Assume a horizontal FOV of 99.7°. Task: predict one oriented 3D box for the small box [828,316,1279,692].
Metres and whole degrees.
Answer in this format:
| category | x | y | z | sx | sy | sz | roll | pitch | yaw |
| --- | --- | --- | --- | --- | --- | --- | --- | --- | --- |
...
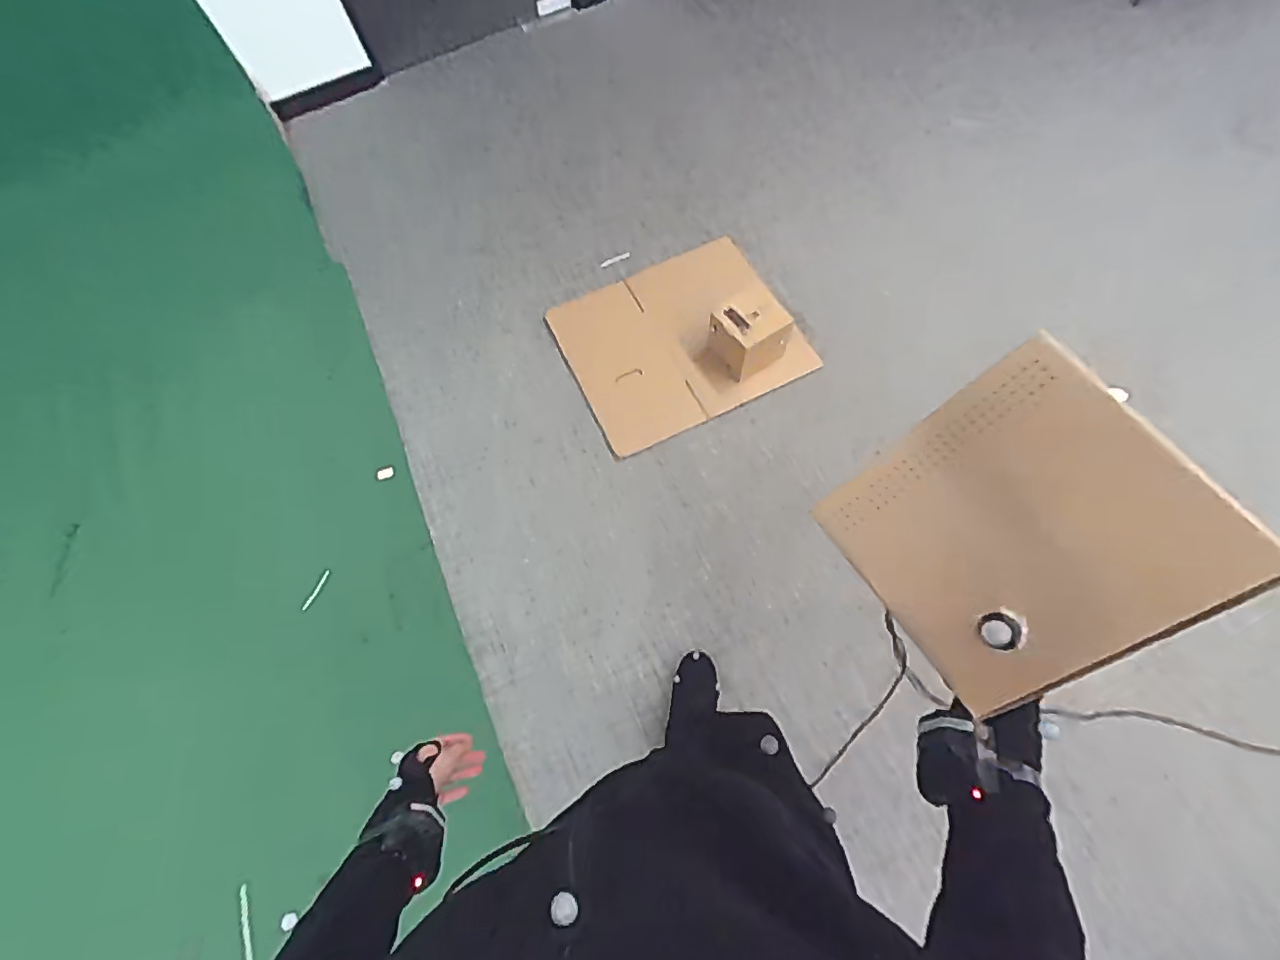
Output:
| category | x | y | z | sx | sy | sz | roll | pitch | yaw |
| --- | --- | --- | --- | --- | --- | --- | --- | --- | --- |
| small box | 0.262 | 0.015 | 0.393 | 0.179 | 0.168 | 0.176 | -45 | 69 | 26 |
